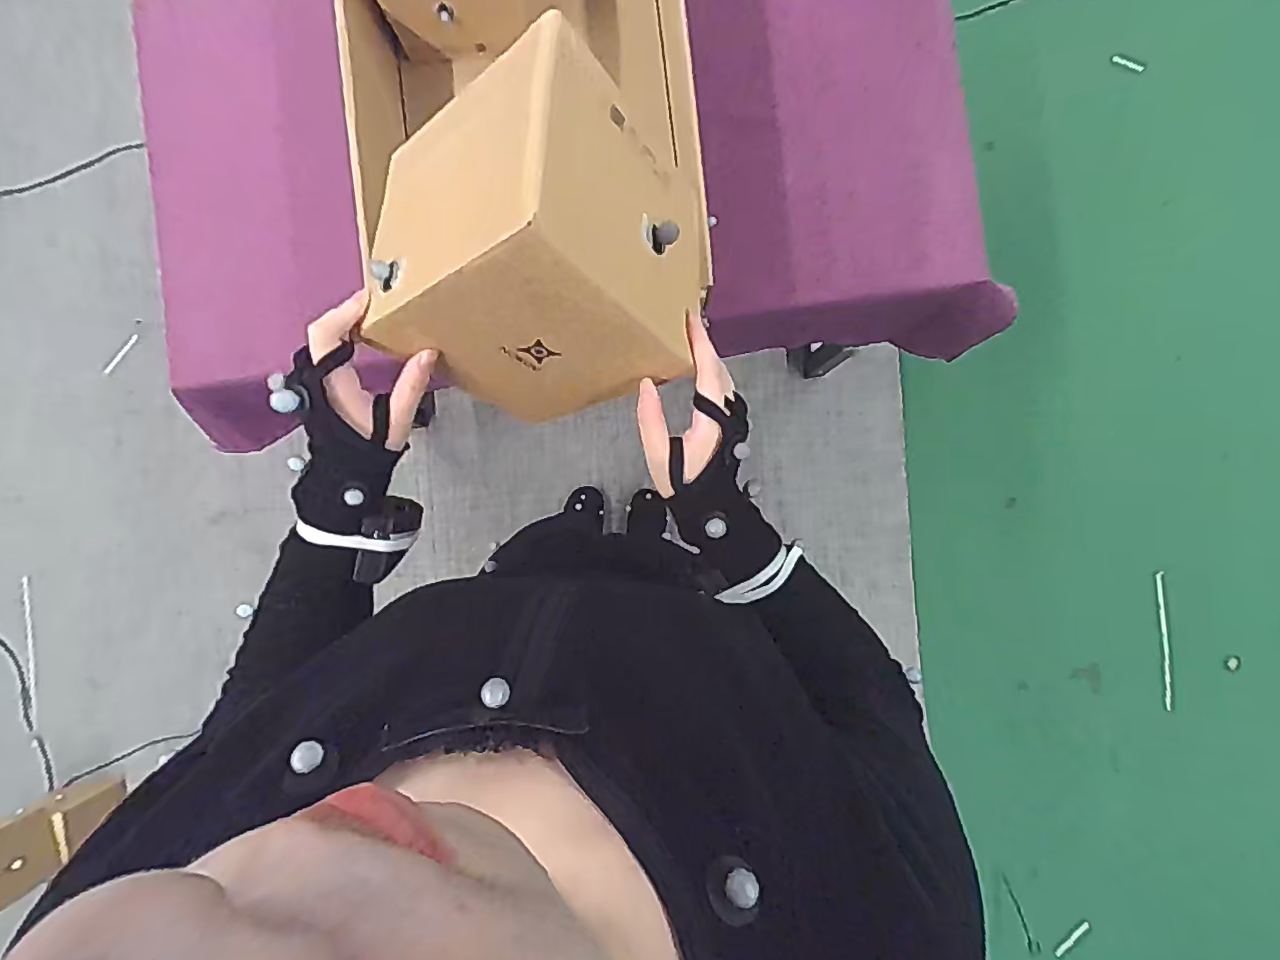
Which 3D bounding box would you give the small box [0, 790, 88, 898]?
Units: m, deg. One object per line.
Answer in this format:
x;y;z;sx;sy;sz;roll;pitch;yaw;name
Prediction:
-1.552;0.905;1.345;0.168;0.176;0.179;-17;90;3;small box

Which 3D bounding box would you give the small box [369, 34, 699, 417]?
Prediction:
-0.070;-0.171;0.411;0.179;0.168;0.176;-11;66;35;small box
